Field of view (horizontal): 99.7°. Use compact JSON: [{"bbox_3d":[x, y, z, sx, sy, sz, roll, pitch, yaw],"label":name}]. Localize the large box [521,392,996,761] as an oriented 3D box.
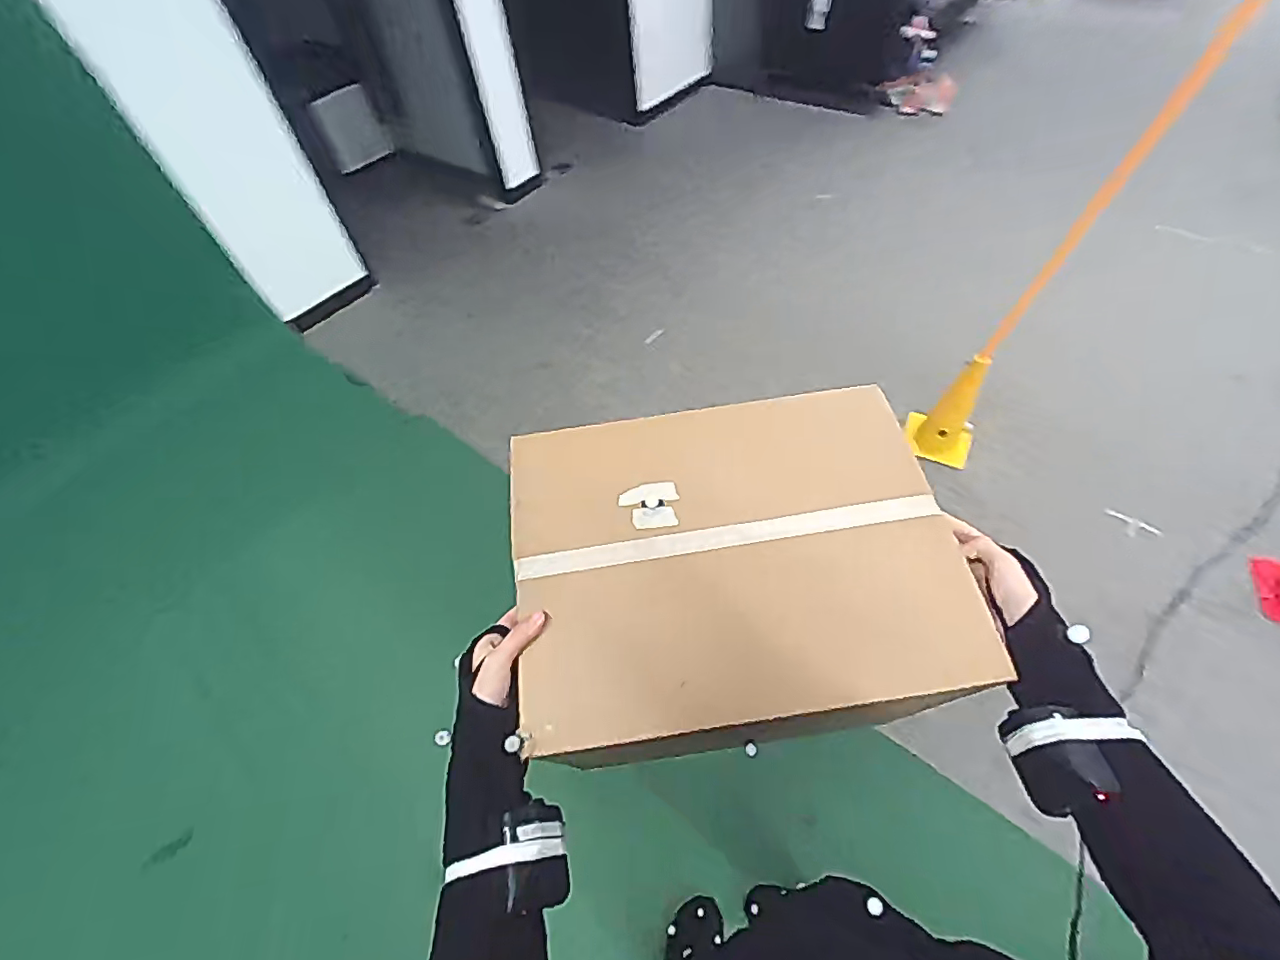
[{"bbox_3d":[0.098,0.136,0.654,0.408,0.320,0.320,-9,59,0],"label":"large box"}]
